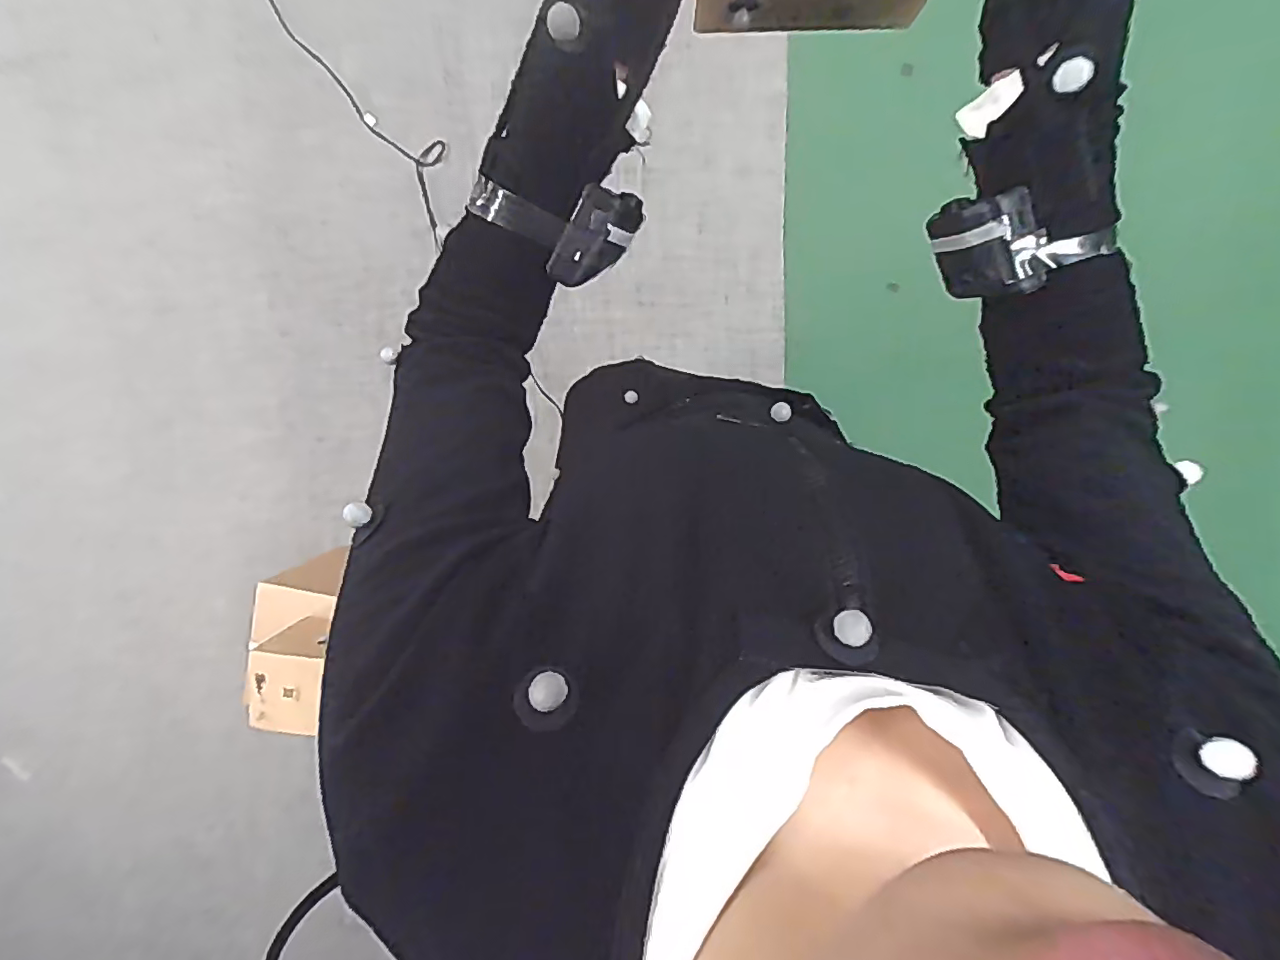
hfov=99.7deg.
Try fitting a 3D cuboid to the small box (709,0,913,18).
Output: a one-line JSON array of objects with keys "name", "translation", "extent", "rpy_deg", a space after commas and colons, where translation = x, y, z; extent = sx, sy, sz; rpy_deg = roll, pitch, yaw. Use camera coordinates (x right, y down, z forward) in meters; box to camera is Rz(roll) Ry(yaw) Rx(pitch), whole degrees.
[{"name": "small box", "translation": [0.118, -0.415, 0.315], "extent": [0.168, 0.176, 0.179], "rpy_deg": [0, 99, 1]}]

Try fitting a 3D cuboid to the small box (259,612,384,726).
[{"name": "small box", "translation": [-0.669, 0.393, 1.152], "extent": [0.179, 0.176, 0.168], "rpy_deg": [6, 99, 0]}]
